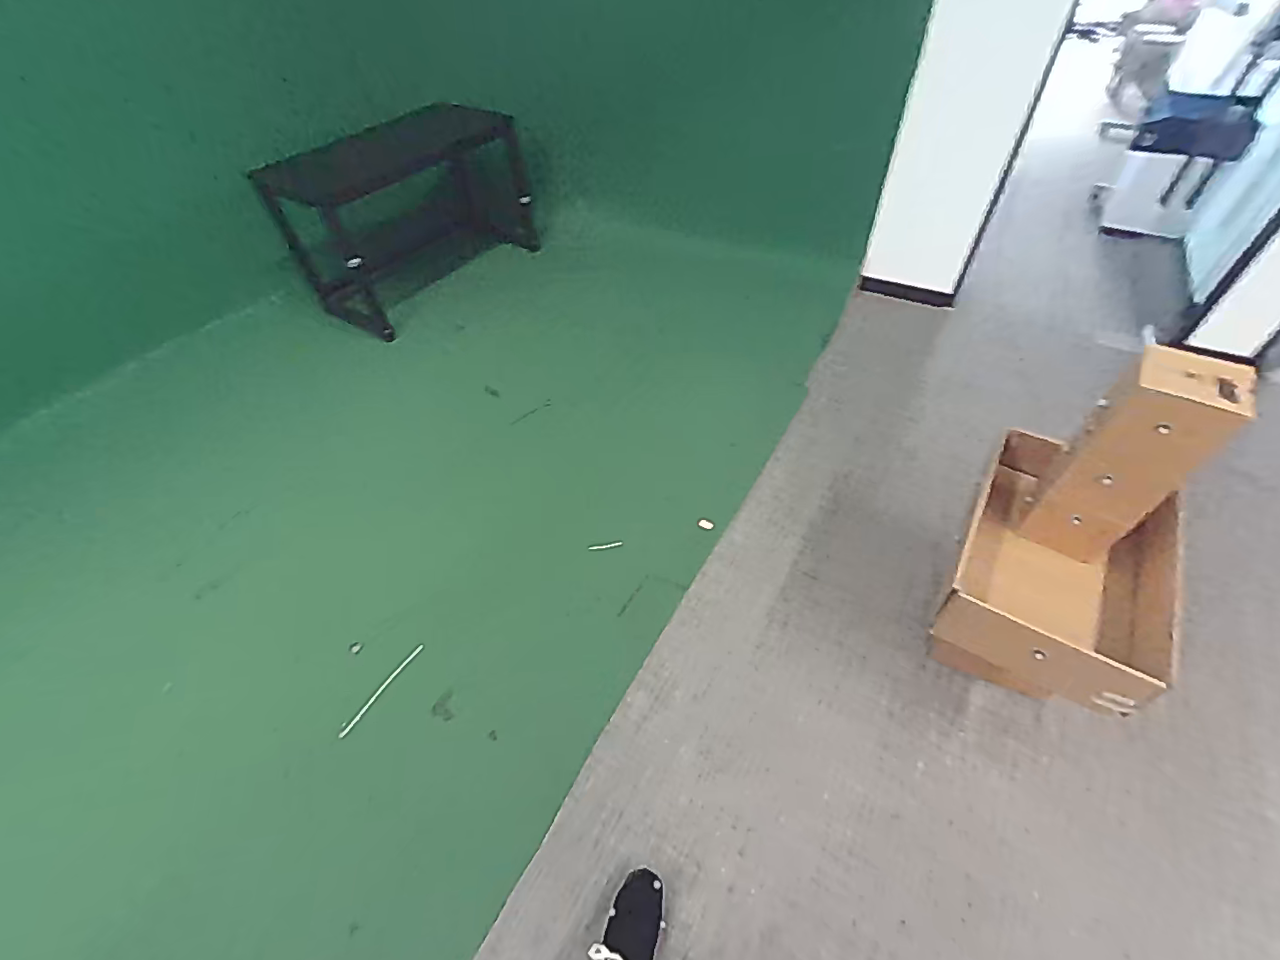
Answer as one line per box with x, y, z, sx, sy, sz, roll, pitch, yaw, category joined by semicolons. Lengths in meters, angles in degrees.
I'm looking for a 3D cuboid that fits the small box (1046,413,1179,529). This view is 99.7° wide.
1.075;-0.018;1.236;0.179;0.176;0.168;26;56;24;small box

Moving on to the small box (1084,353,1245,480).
1.070;-0.126;1.112;0.179;0.176;0.168;26;55;24;small box

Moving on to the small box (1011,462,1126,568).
1.077;0.091;1.359;0.179;0.176;0.168;28;56;23;small box
